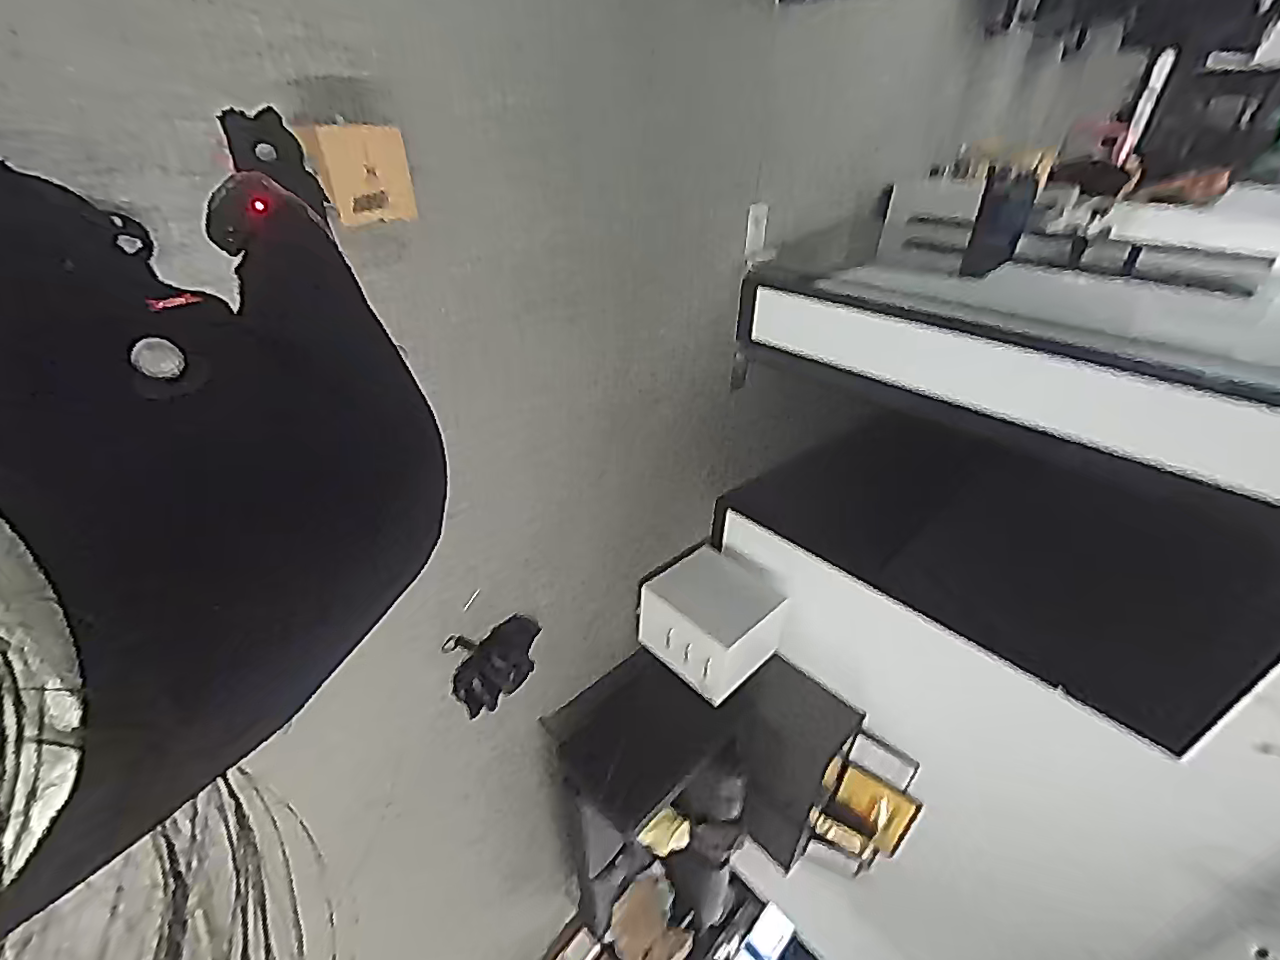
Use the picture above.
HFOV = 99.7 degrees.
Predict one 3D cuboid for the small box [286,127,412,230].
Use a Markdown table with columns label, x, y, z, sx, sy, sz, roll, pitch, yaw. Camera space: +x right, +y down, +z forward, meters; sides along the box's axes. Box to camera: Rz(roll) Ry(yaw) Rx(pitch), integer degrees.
| label | x | y | z | sx | sy | sz | roll | pitch | yaw |
| --- | --- | --- | --- | --- | --- | --- | --- | --- | --- |
| small box | -0.617 | -0.646 | 1.152 | 0.168 | 0.176 | 0.179 | -29 | 132 | -36 |
